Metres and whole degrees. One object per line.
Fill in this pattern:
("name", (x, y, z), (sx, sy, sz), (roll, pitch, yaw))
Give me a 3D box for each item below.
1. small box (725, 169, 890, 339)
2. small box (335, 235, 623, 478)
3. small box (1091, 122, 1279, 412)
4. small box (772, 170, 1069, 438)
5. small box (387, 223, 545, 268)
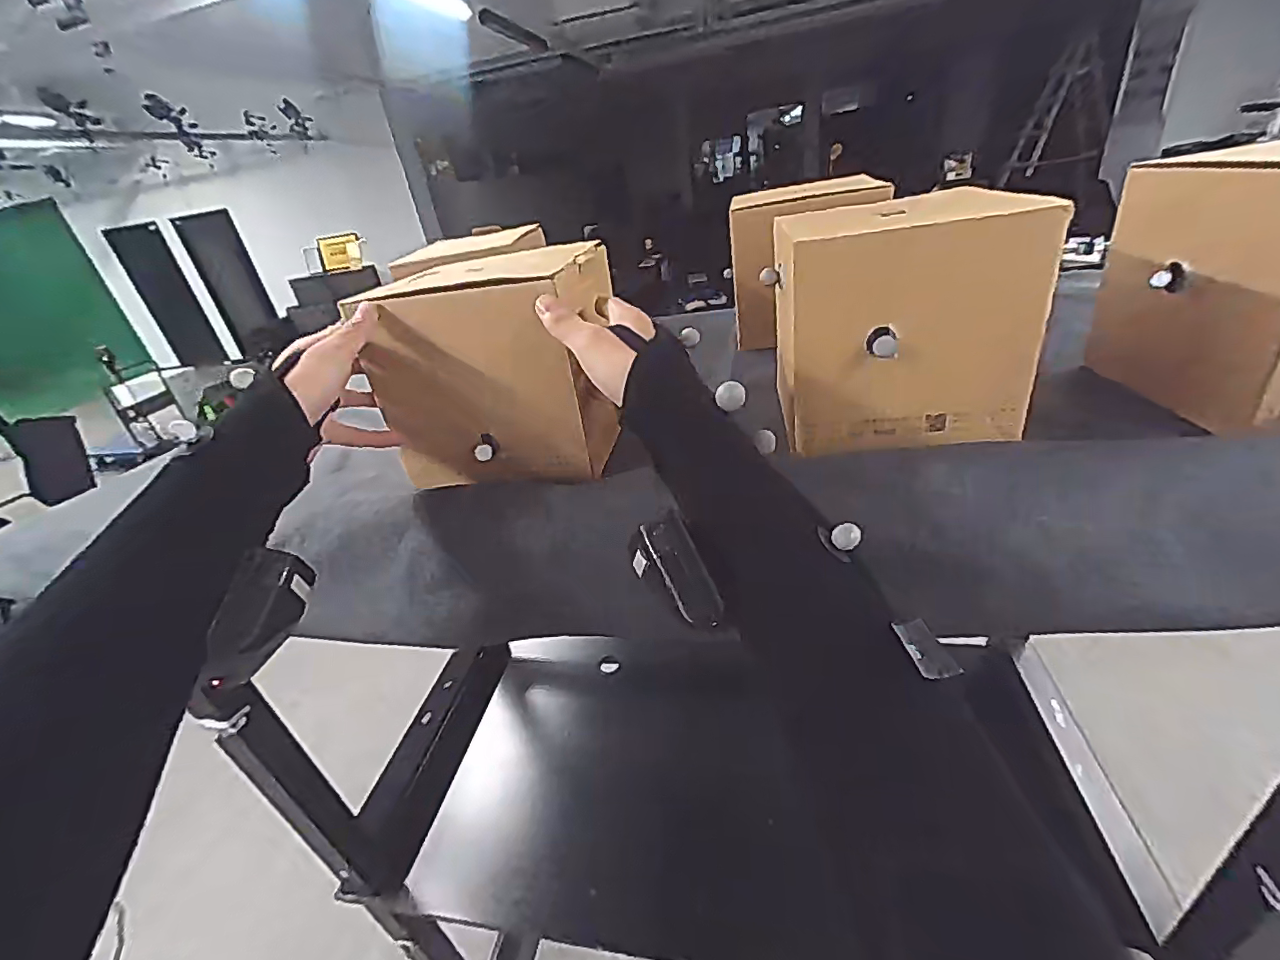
("small box", (0.207, -0.287, 0.691), (0.179, 0.176, 0.168), (-2, 31, 13))
("small box", (-0.119, -0.111, 0.487), (0.179, 0.176, 0.168), (-2, 29, 12))
("small box", (0.467, -0.151, 0.373), (0.168, 0.176, 0.179), (-6, 29, 9))
("small box", (0.201, -0.140, 0.442), (0.168, 0.176, 0.179), (-4, 29, 11))
("small box", (-0.218, -0.257, 0.770), (0.168, 0.176, 0.179), (-7, 30, 8))
